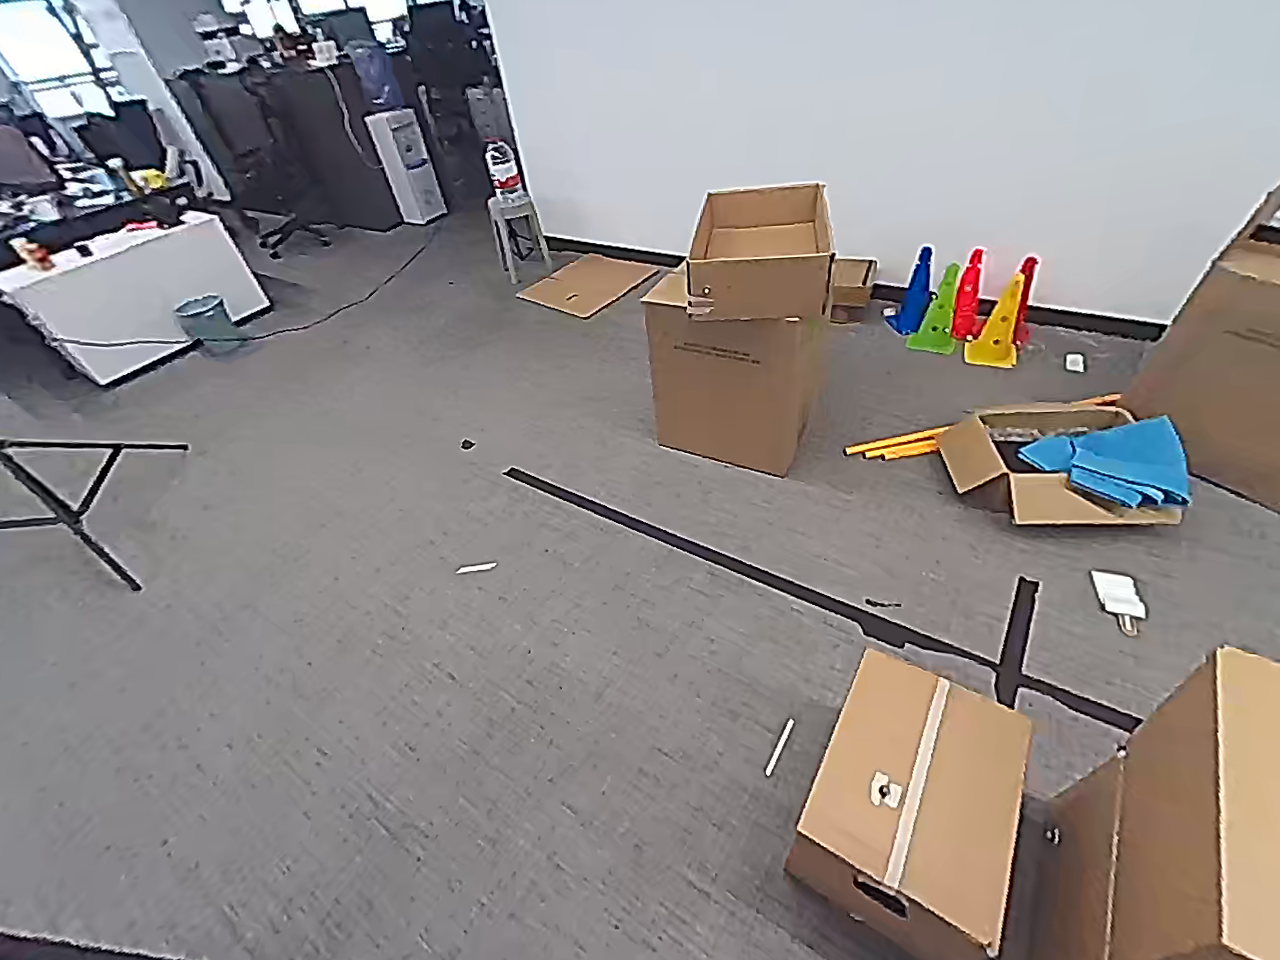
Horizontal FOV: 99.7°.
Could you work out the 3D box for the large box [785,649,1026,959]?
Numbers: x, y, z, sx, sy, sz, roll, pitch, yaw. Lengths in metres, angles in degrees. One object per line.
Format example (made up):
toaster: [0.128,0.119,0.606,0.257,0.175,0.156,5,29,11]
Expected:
large box: [0.517,0.635,1.083,0.320,0.320,0.408,20,51,27]
